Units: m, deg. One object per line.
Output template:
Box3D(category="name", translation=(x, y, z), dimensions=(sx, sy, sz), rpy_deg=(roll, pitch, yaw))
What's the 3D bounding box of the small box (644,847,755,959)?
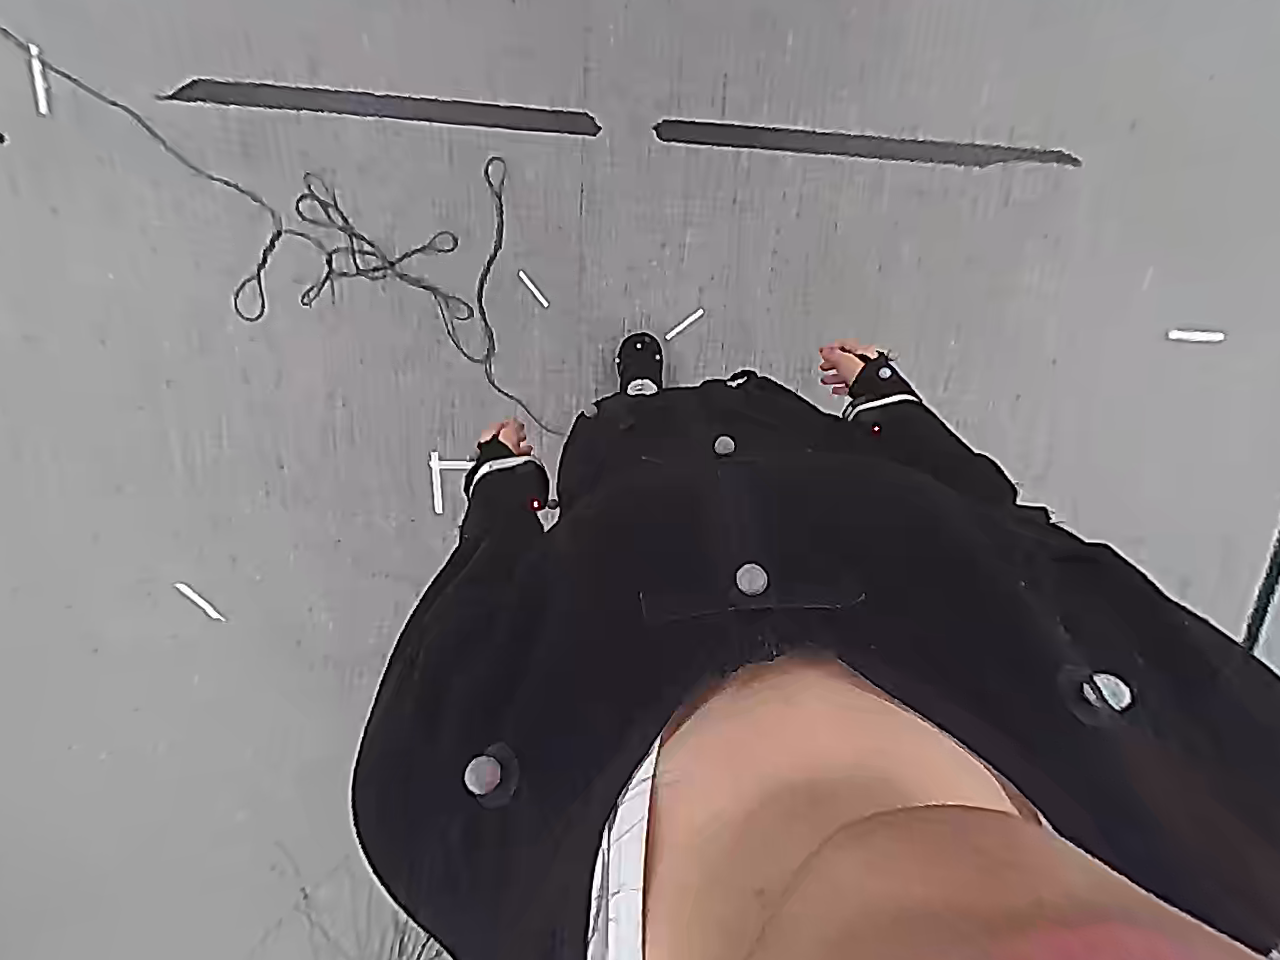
Box3D(category="small box", translation=(0.100, 0.820, 0.998), dimensions=(0.168, 0.176, 0.179), rpy_deg=(7, 103, -2))
